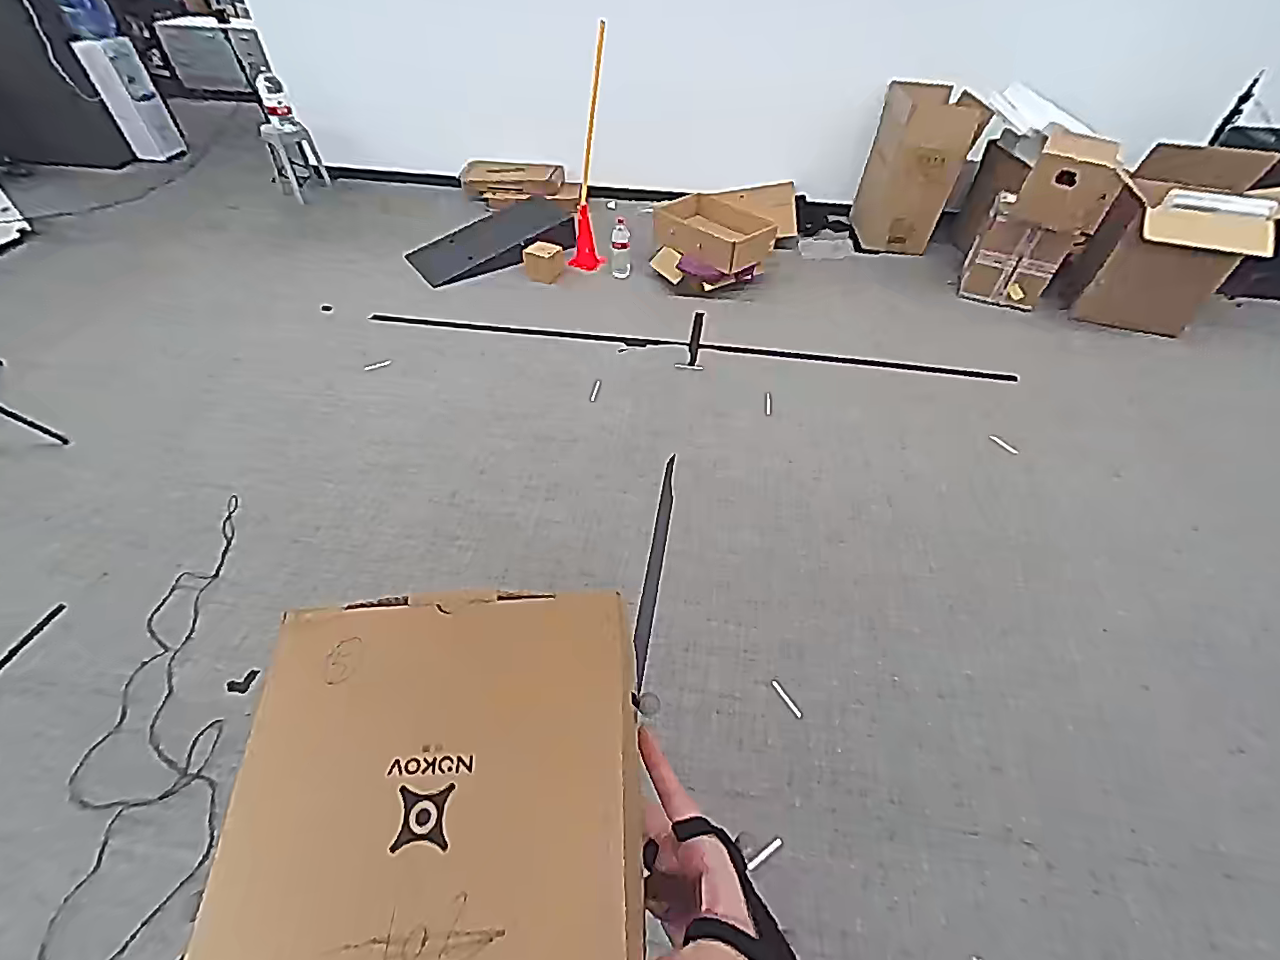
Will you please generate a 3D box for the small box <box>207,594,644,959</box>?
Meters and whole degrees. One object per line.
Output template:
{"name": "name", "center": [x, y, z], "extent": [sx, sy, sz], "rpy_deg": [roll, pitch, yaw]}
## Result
{"name": "small box", "center": [-0.084, 0.177, 0.304], "extent": [0.168, 0.176, 0.179], "rpy_deg": [-3, 61, 1]}
